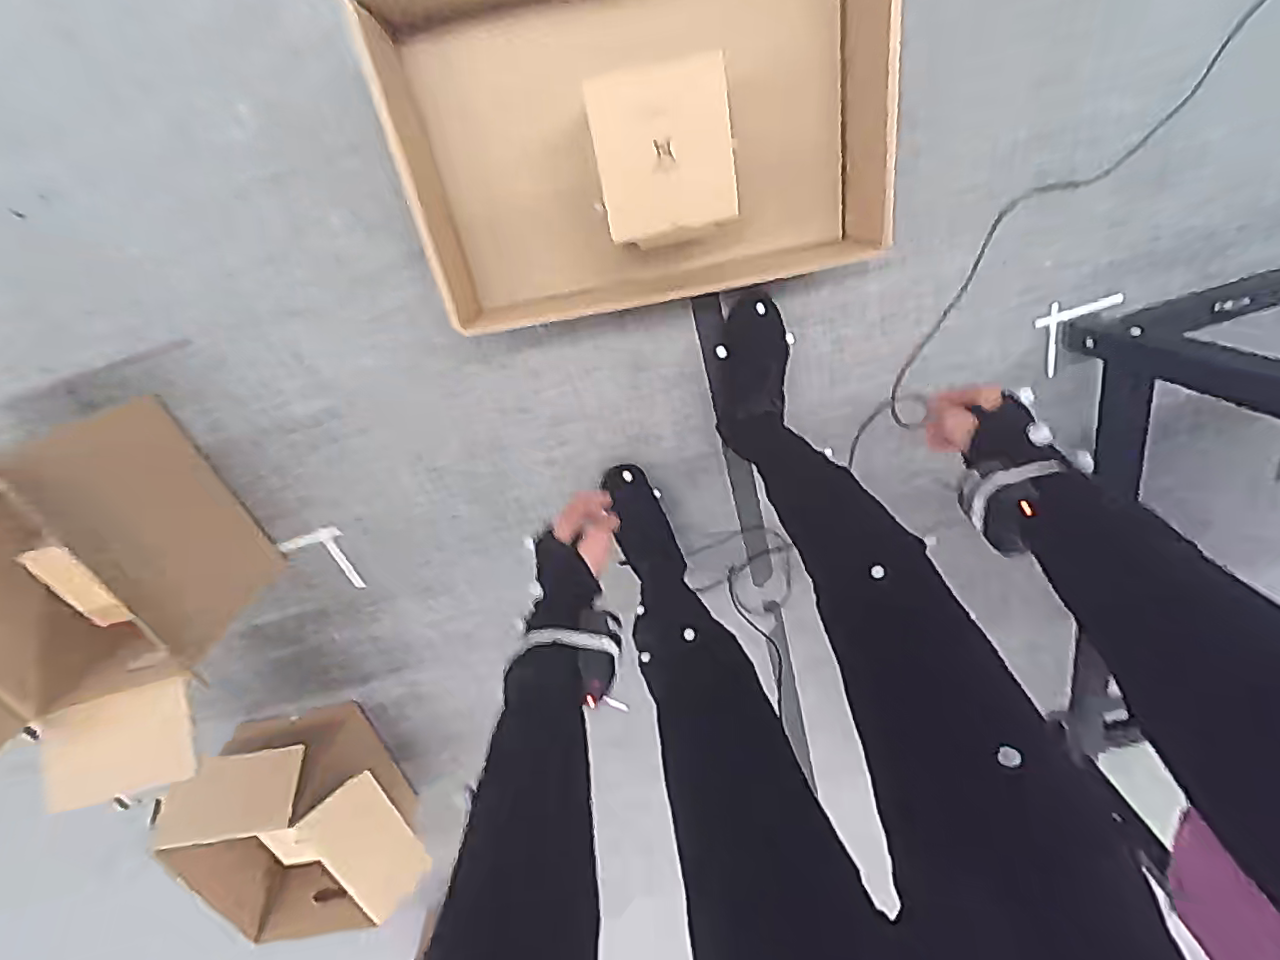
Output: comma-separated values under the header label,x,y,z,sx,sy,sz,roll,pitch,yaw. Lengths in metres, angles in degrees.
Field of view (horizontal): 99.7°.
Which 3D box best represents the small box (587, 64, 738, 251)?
label,x,y,z,sx,sy,sz,roll,pitch,yaw
small box,0.030,-0.423,0.729,0.168,0.176,0.179,-11,116,2
